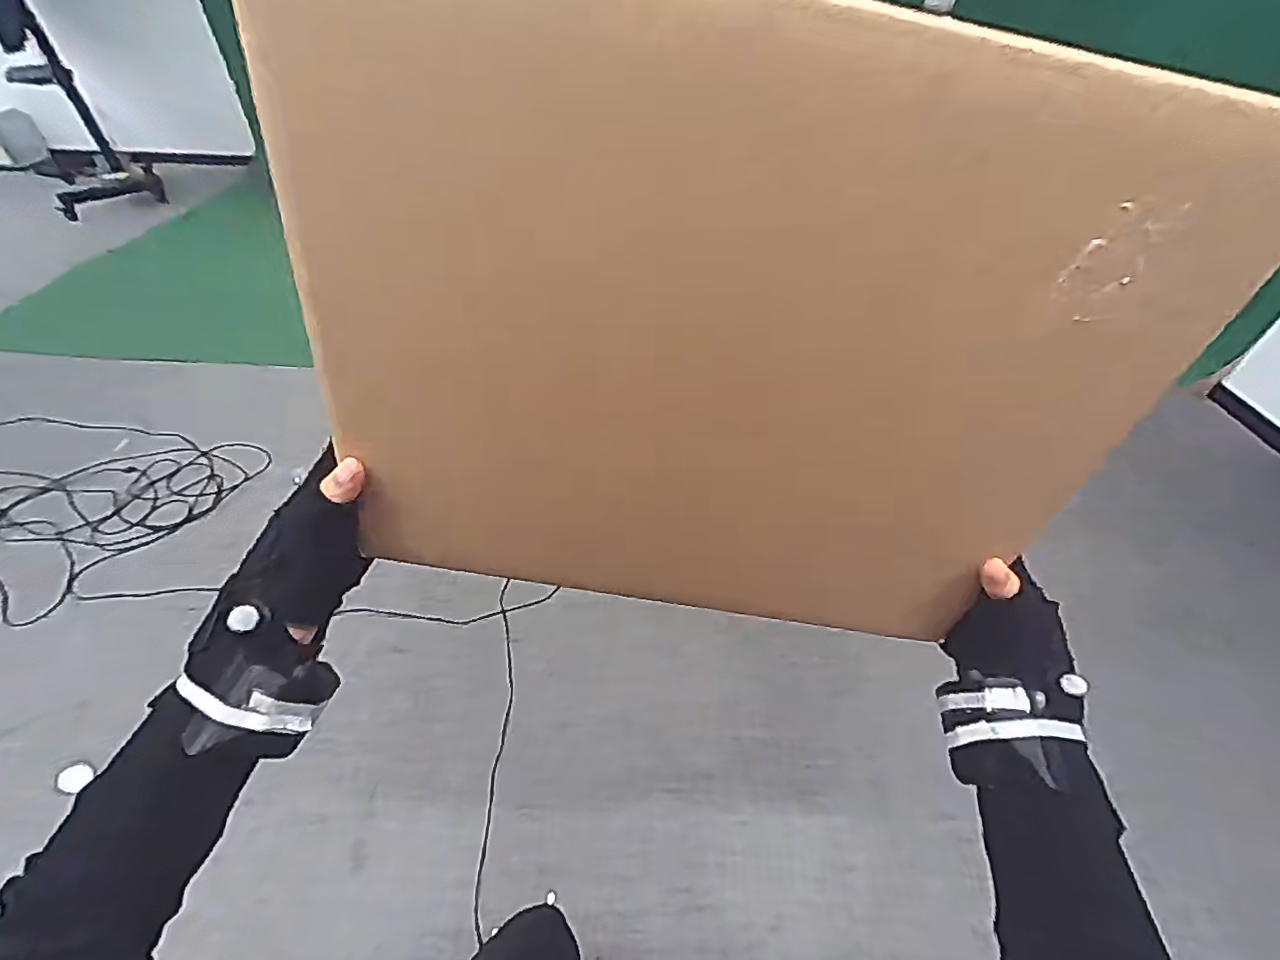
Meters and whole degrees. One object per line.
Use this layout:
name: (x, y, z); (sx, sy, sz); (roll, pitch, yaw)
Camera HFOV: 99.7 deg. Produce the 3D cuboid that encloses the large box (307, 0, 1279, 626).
large box: (0.054, -0.128, 0.394); (0.408, 0.320, 0.320); (10, 39, -6)
